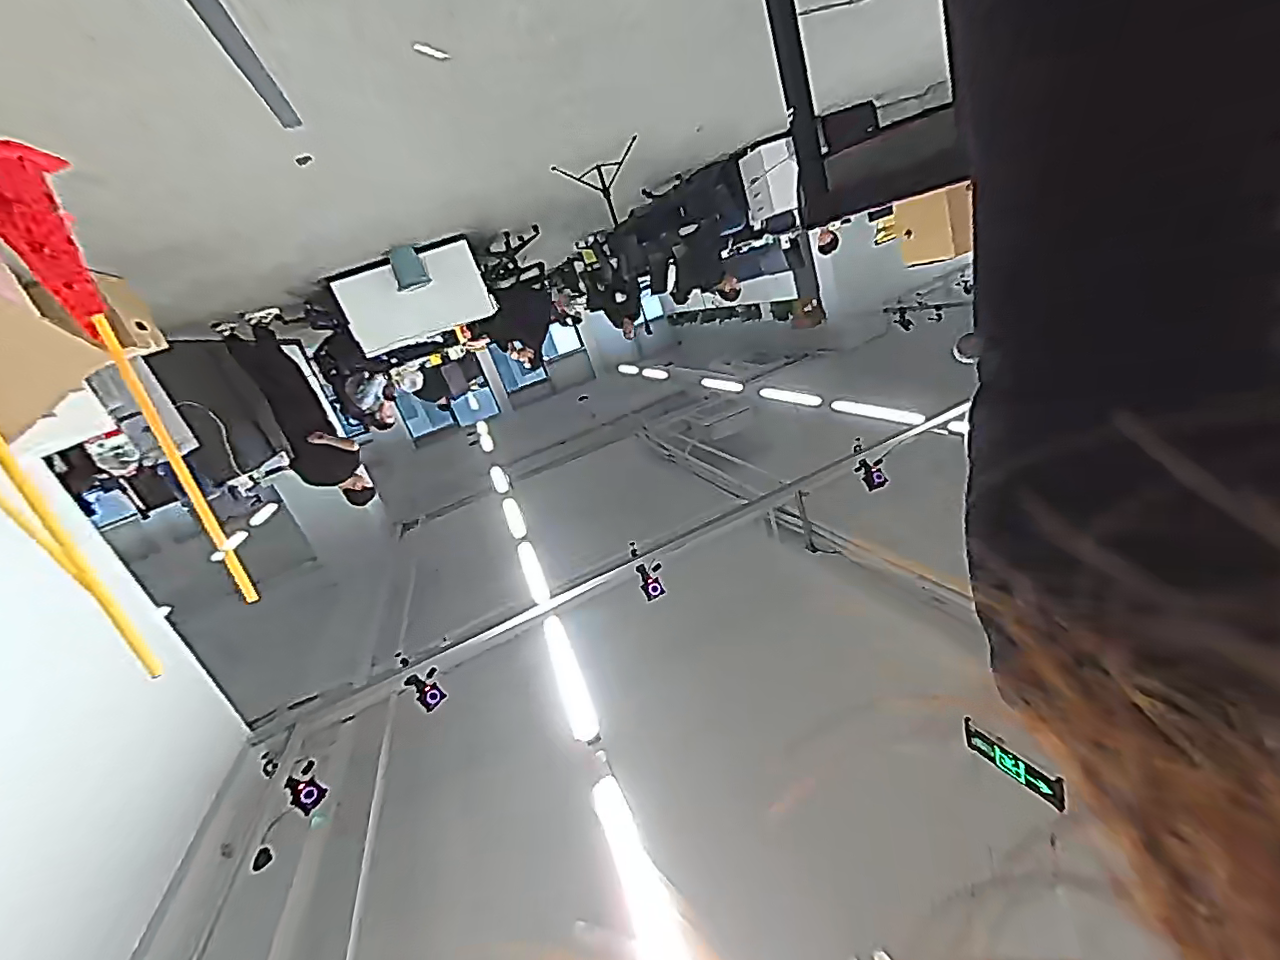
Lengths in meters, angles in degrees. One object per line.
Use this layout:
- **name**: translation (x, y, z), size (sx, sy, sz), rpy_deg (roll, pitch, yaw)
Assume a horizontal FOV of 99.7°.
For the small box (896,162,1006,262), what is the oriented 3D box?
- **small box**: translation (0.755, -0.652, 1.323), size (0.168, 0.176, 0.179), rpy_deg (-24, -159, -9)
